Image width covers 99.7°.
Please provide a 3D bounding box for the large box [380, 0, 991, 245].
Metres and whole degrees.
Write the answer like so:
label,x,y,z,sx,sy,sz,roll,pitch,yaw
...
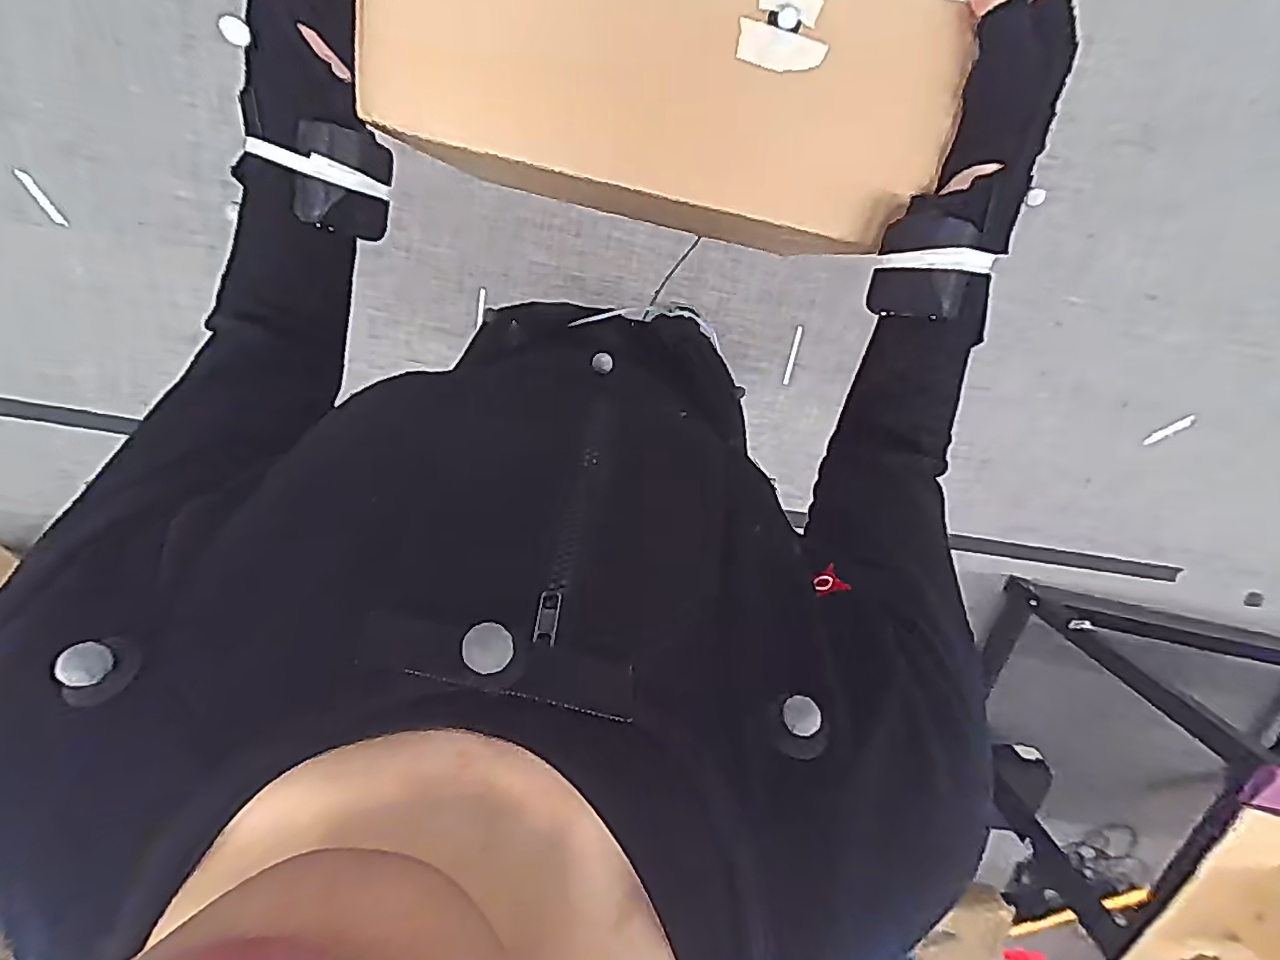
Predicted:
label,x,y,z,sx,sy,sz,roll,pitch,yaw
large box,0.034,-0.412,0.477,0.408,0.320,0.320,10,113,-7
